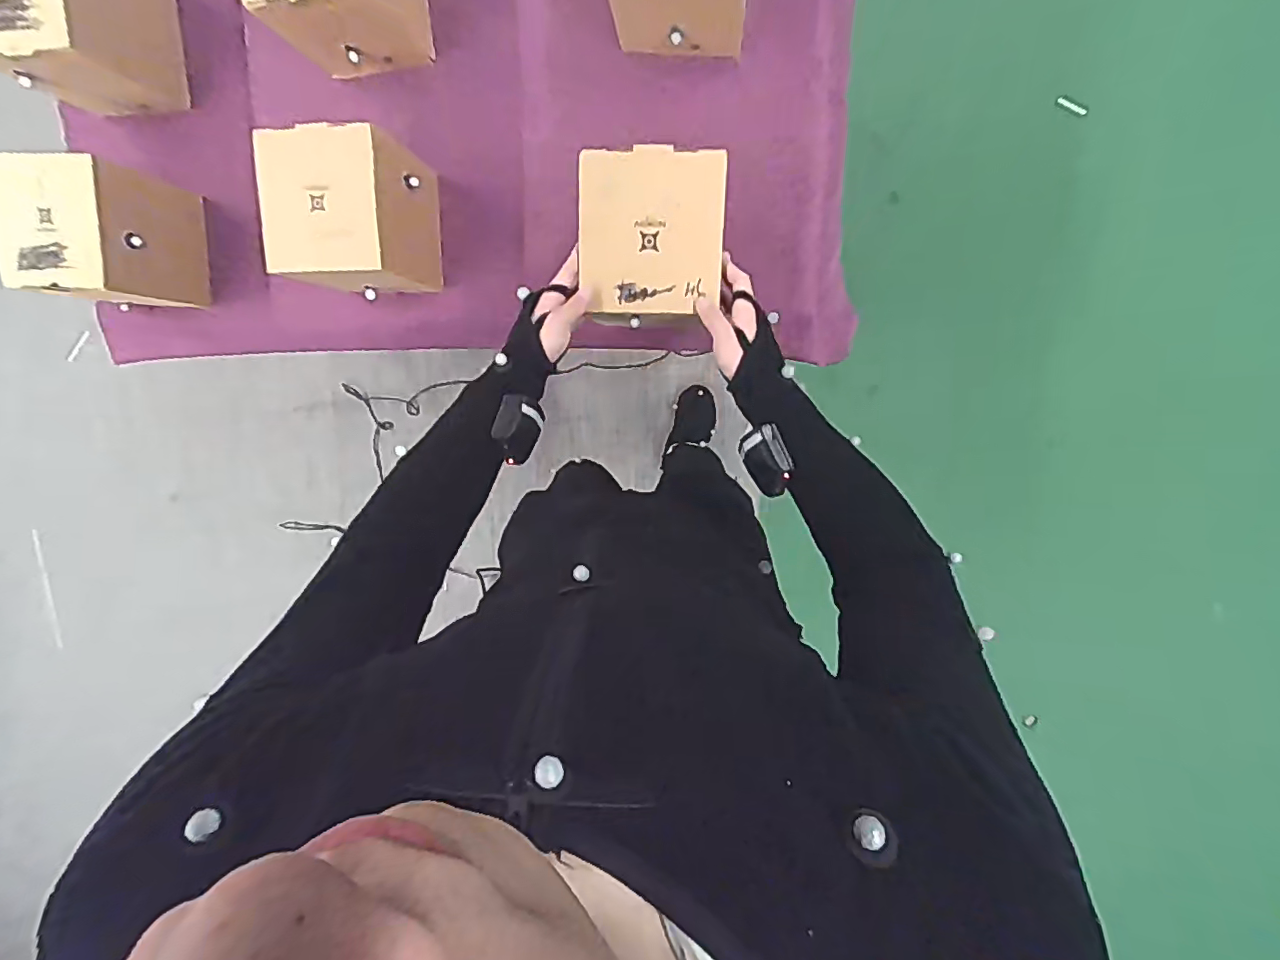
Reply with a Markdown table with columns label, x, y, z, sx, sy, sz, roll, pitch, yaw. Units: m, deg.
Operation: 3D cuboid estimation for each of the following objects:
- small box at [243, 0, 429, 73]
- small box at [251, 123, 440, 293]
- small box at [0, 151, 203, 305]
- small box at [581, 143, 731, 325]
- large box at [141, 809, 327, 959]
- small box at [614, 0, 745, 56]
| label | x | y | z | sx | sy | sz | roll | pitch | yaw |
| --- | --- | --- | --- | --- | --- | --- | --- | --- | --- |
| small box | -0.397 | -0.675 | 0.699 | 0.168 | 0.176 | 0.179 | -3 | 102 | 7 |
| small box | -0.400 | -0.369 | 0.761 | 0.168 | 0.176 | 0.179 | 2 | 101 | 7 |
| small box | -0.797 | -0.362 | 0.805 | 0.168 | 0.176 | 0.179 | 4 | 100 | 5 |
| small box | 0.021 | -0.298 | 0.688 | 0.168 | 0.176 | 0.179 | 2 | 101 | 4 |
| large box | -1.442 | 1.487 | 1.945 | 0.408 | 0.320 | 0.320 | 25 | 104 | 0 |
| small box | 0.053 | -0.658 | 0.649 | 0.168 | 0.176 | 0.179 | 7 | 103 | 6 |
